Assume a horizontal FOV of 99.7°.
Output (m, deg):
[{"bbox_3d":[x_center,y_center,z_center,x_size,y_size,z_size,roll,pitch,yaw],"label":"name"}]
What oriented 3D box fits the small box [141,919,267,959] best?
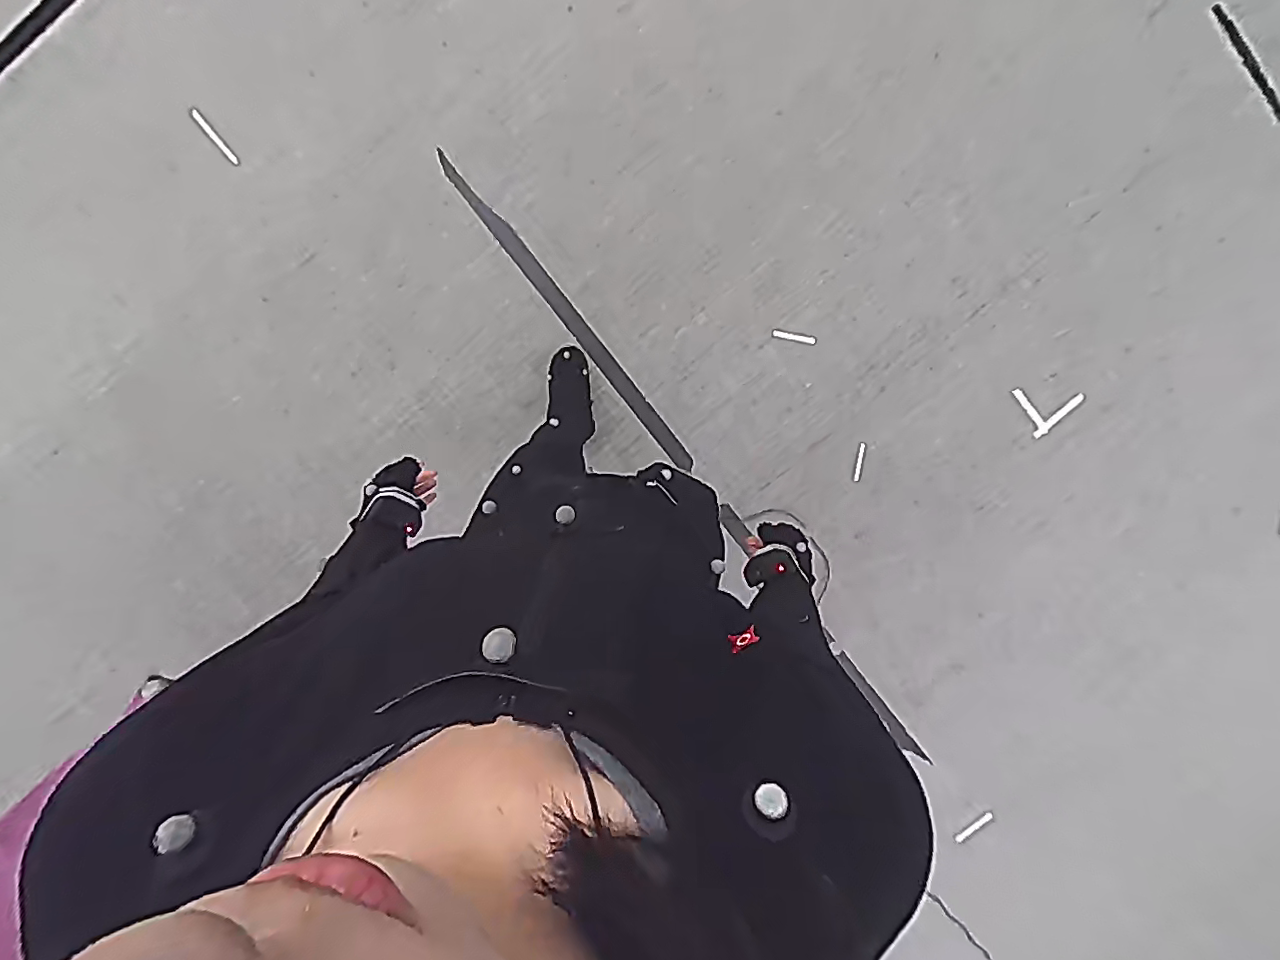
[{"bbox_3d":[-0.645,0.758,0.740,0.168,0.176,0.179,-37,99,4],"label":"small box"}]
